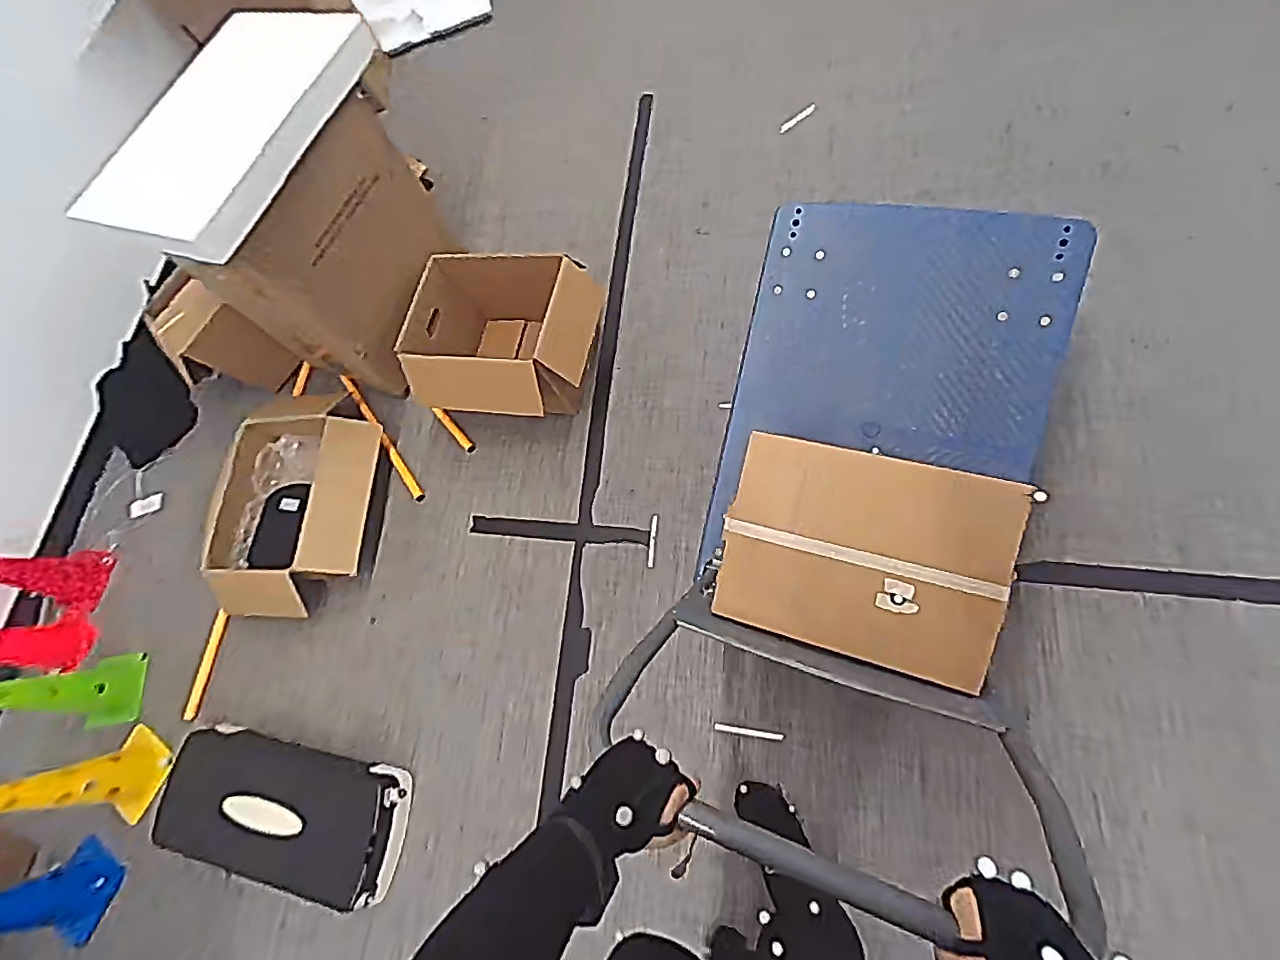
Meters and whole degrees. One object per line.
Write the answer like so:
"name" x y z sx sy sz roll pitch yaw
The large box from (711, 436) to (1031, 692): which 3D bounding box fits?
"large box" 0.373 0.114 0.960 0.408 0.320 0.320 13 96 18
